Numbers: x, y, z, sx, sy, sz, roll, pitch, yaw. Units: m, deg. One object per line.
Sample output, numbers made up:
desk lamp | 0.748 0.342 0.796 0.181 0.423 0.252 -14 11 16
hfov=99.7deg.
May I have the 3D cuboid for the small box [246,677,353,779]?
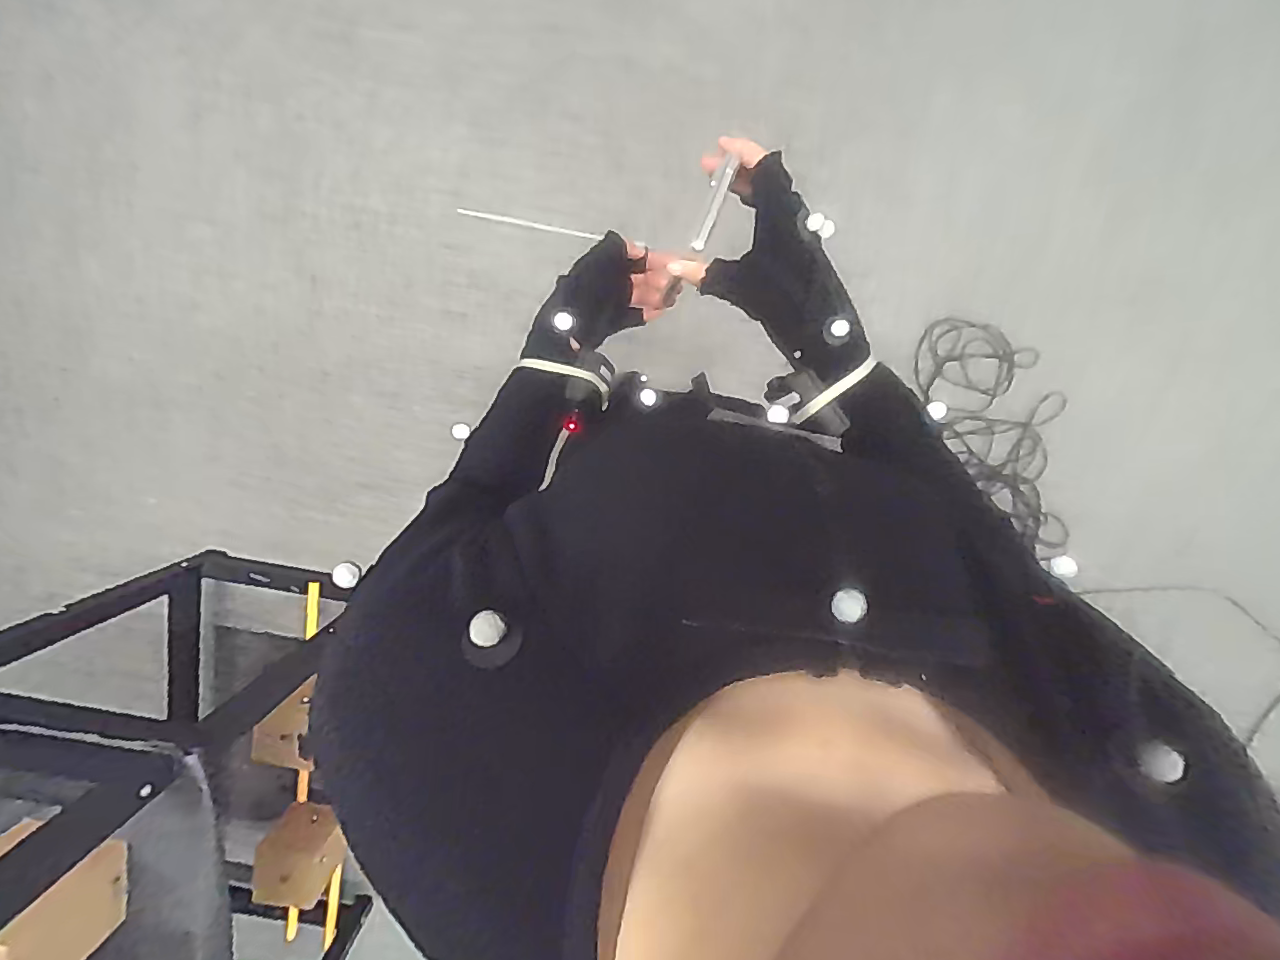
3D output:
small box | -0.893 0.647 1.432 0.179 0.176 0.168 14 100 -1
